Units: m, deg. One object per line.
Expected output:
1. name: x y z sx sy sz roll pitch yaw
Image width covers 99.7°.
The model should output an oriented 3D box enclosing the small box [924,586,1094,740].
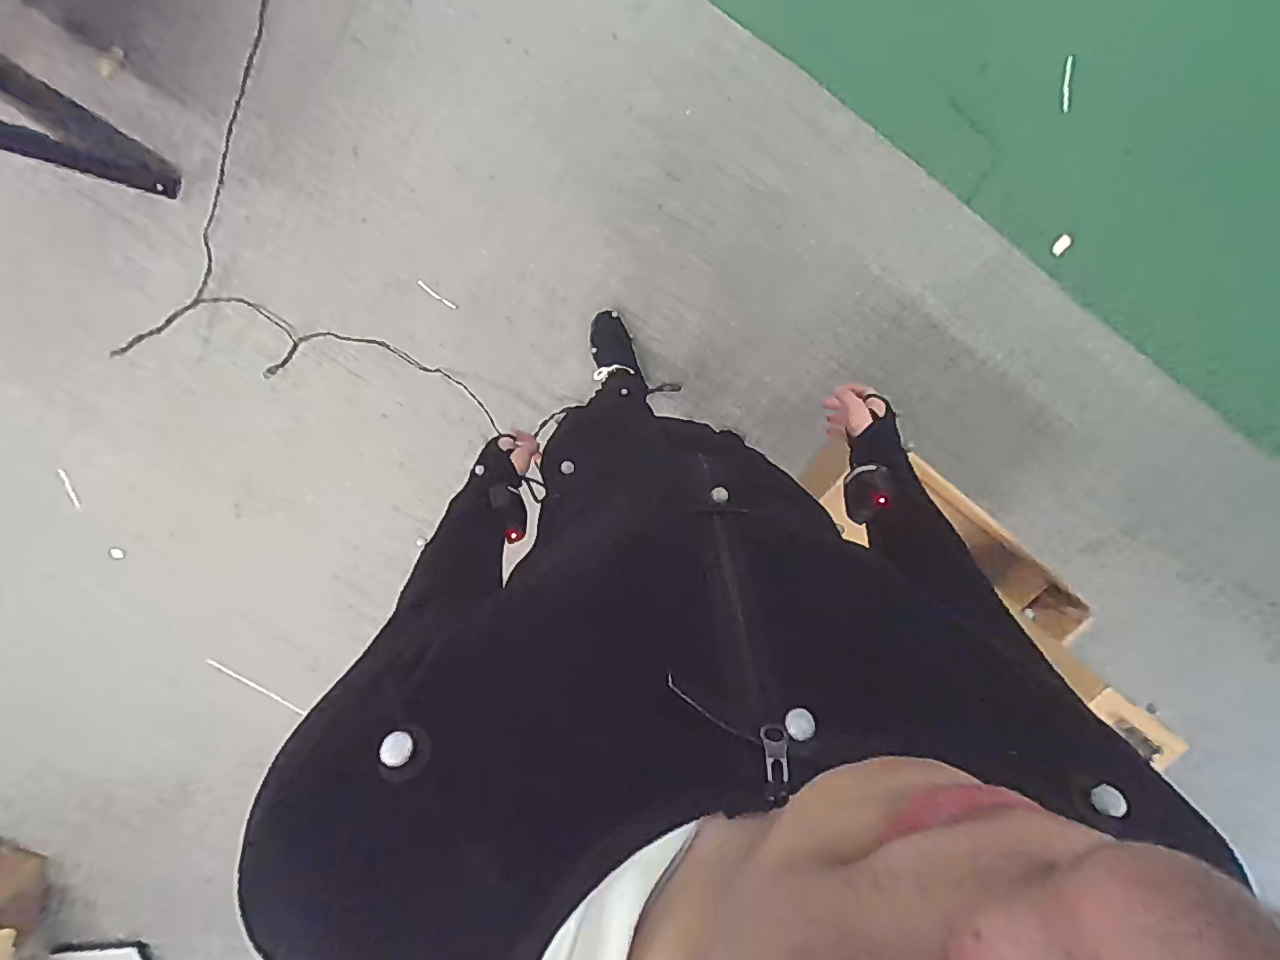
1. small box: 0.676 0.336 1.022 0.168 0.176 0.179 36 102 -7
